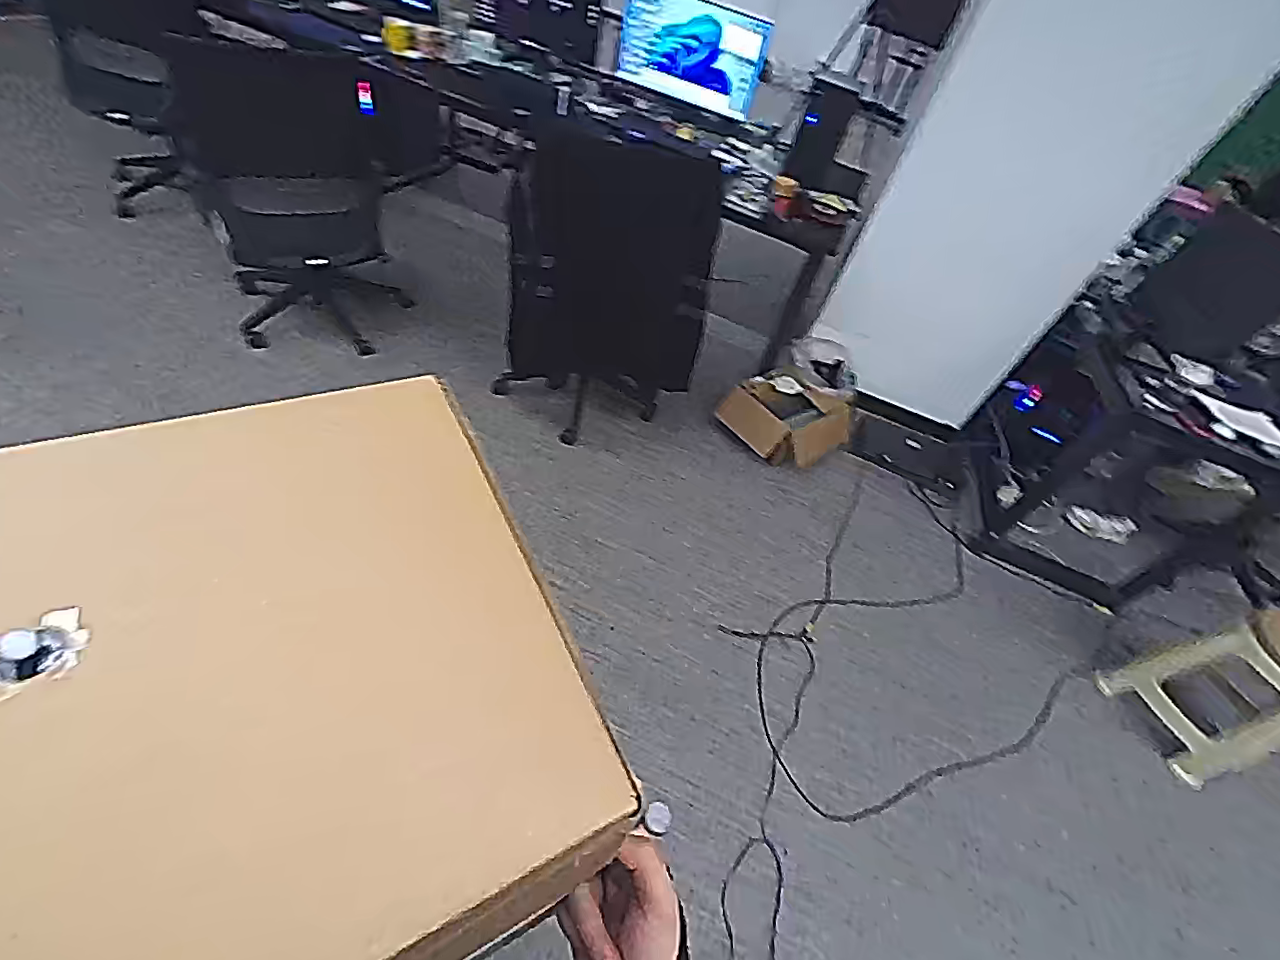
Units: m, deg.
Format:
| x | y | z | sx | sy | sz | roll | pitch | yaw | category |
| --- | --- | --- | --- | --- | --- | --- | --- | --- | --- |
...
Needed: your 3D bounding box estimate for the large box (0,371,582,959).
| x | y | z | sx | sy | sz | roll | pitch | yaw | category |
| --- | --- | --- | --- | --- | --- | --- | --- | --- | --- |
| -0.289 | 0.180 | 0.328 | 0.408 | 0.320 | 0.320 | -20 | 56 | -26 | large box |
